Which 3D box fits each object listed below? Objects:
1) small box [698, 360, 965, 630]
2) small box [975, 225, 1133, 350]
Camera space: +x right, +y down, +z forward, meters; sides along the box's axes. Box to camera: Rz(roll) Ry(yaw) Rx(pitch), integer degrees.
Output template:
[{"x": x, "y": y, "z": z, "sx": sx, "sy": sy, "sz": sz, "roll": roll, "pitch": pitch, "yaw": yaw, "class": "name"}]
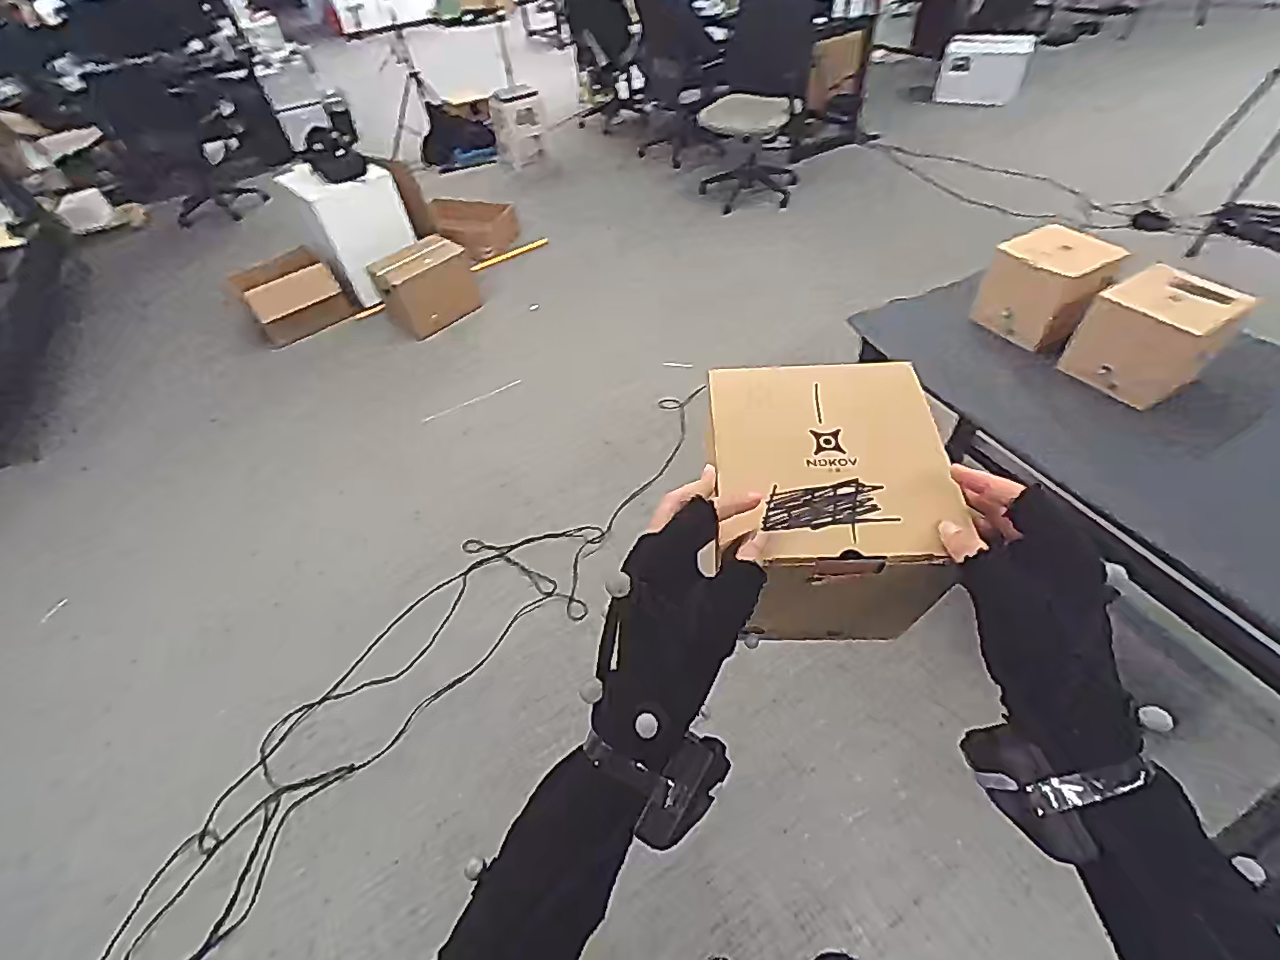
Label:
[{"x": 0.136, "y": 0.022, "z": 0.463, "sx": 0.168, "sy": 0.176, "sz": 0.179, "roll": -2, "pitch": 55, "yaw": 3, "class": "small box"}, {"x": 0.854, "y": -0.403, "z": 1.137, "sx": 0.179, "sy": 0.176, "sz": 0.168, "roll": -24, "pitch": 50, "yaw": -14, "class": "small box"}]
